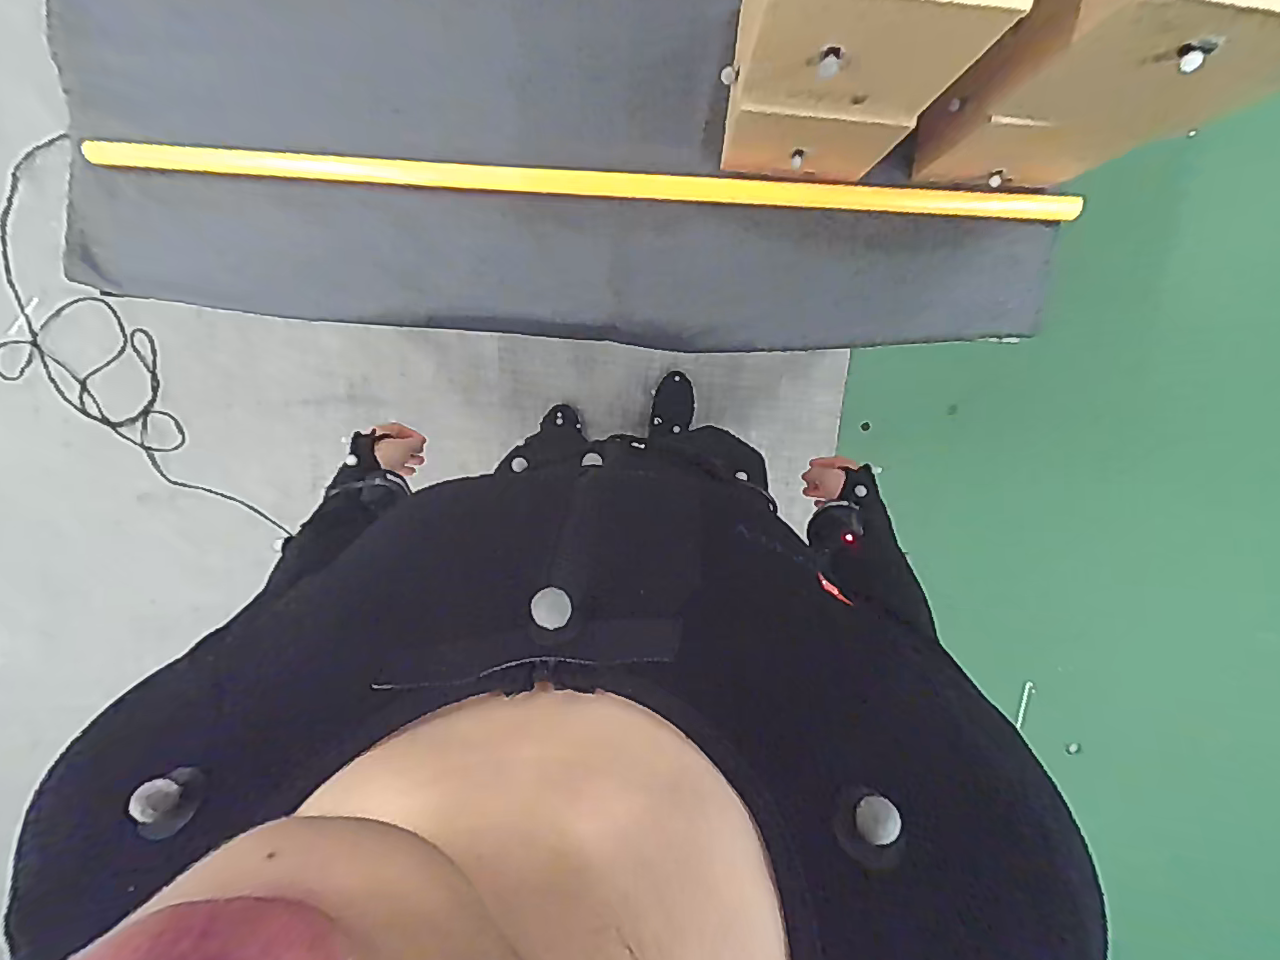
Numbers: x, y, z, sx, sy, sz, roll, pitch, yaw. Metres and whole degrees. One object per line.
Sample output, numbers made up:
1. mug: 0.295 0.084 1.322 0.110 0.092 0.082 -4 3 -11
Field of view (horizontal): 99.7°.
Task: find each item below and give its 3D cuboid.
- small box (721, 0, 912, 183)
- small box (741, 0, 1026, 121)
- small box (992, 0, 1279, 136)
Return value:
1. small box: 0.181 -0.430 0.560 0.168 0.176 0.179 6 102 0
2. small box: 0.174 -0.399 0.399 0.168 0.176 0.179 7 102 2
3. small box: 0.403 -0.379 0.392 0.179 0.176 0.168 8 103 0
